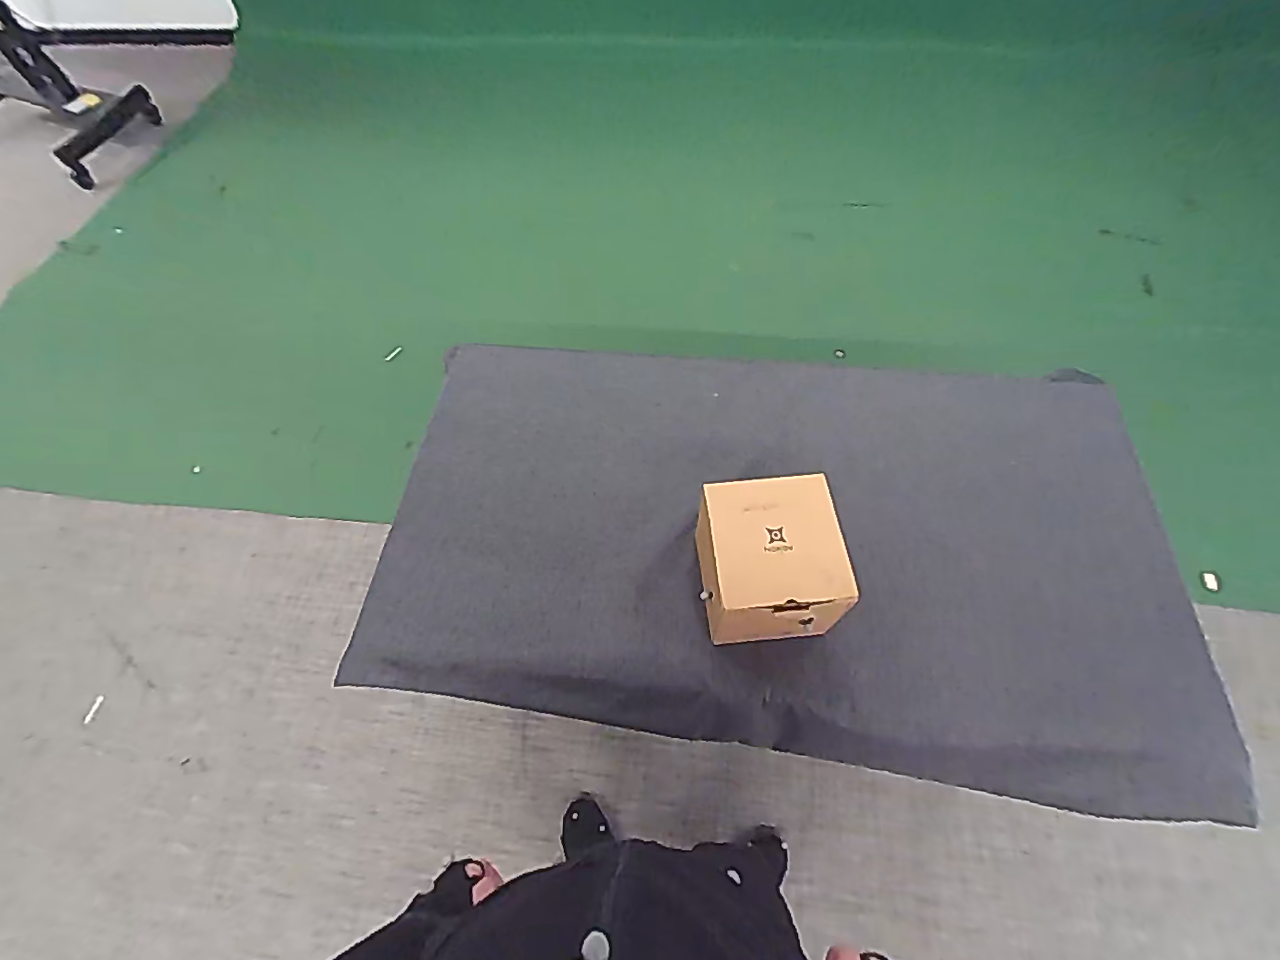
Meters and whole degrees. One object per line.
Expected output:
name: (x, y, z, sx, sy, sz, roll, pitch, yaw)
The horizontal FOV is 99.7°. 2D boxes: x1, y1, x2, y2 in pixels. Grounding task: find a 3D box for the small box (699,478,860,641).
small box: (0.179, 0.118, 0.754, 0.168, 0.176, 0.179, -5, 59, -2)
